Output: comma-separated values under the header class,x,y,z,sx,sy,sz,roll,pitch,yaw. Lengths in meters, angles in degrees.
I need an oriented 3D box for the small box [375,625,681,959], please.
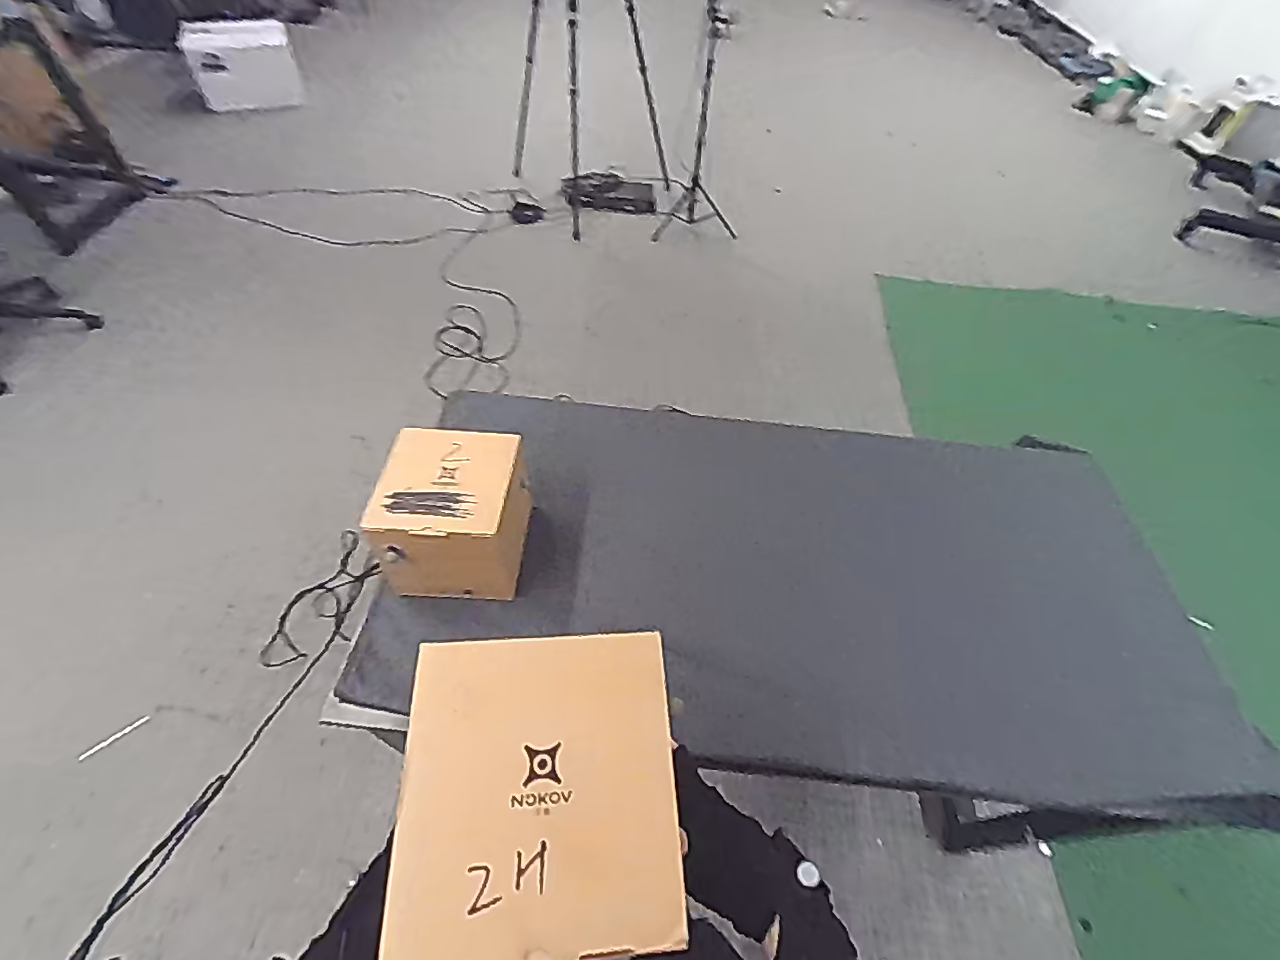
class,x,y,z,sx,sy,sz,roll,pitch,yaw
small box,-0.068,0.219,0.400,0.168,0.176,0.179,-1,59,-5
